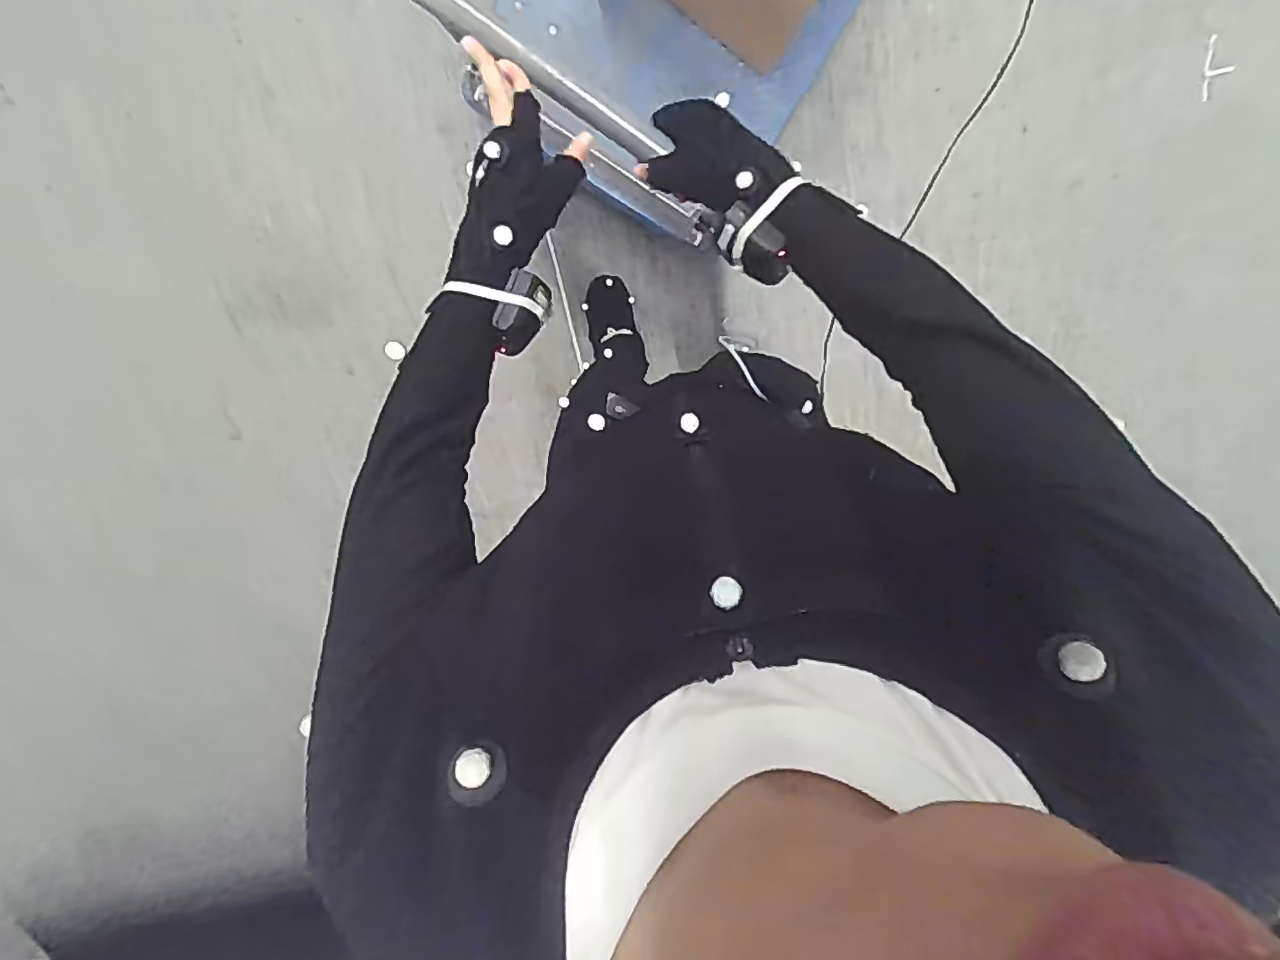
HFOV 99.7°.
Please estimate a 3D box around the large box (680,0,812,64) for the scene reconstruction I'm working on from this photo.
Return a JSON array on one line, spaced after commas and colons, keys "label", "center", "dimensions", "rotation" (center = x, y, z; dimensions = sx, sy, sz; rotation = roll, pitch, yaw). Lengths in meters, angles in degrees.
[{"label": "large box", "center": [0.154, -0.953, 0.817], "dimensions": [0.408, 0.320, 0.320], "rotation": [30, 106, -11]}]
